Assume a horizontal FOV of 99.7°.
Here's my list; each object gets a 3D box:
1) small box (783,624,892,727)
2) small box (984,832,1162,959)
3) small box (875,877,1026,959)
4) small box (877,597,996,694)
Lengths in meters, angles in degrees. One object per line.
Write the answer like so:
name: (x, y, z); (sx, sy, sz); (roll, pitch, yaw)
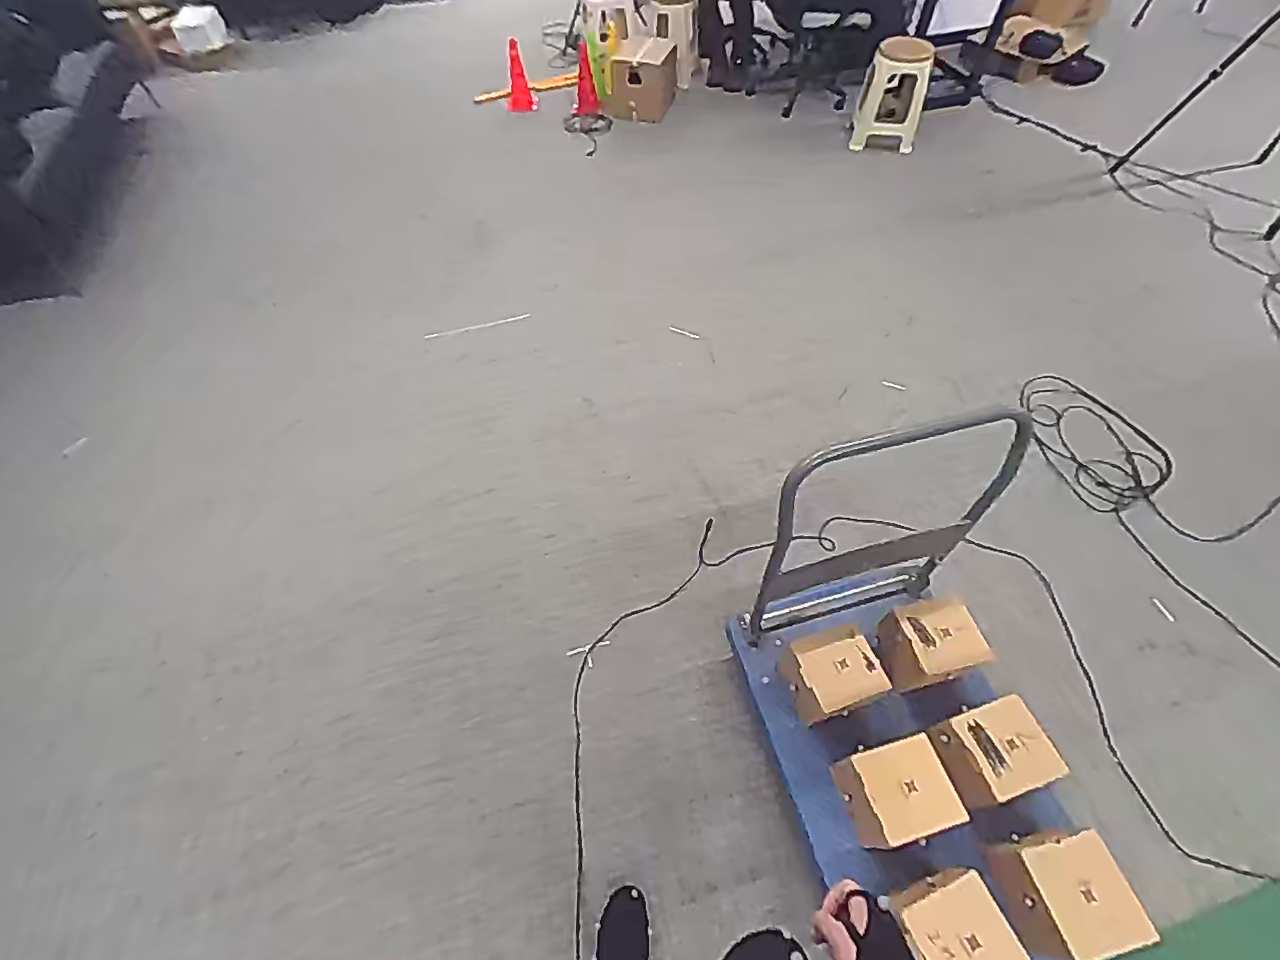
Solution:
small box: (0.456, 0.470, 1.287); (0.179, 0.176, 0.168); (-16, 57, -9)
small box: (0.821, 0.810, 1.052); (0.168, 0.176, 0.179); (-12, 56, -5)
small box: (0.578, 0.866, 1.014); (0.179, 0.176, 0.168); (-14, 54, -7)
small box: (0.709, 0.409, 1.325); (0.179, 0.176, 0.168); (-11, 57, -7)
